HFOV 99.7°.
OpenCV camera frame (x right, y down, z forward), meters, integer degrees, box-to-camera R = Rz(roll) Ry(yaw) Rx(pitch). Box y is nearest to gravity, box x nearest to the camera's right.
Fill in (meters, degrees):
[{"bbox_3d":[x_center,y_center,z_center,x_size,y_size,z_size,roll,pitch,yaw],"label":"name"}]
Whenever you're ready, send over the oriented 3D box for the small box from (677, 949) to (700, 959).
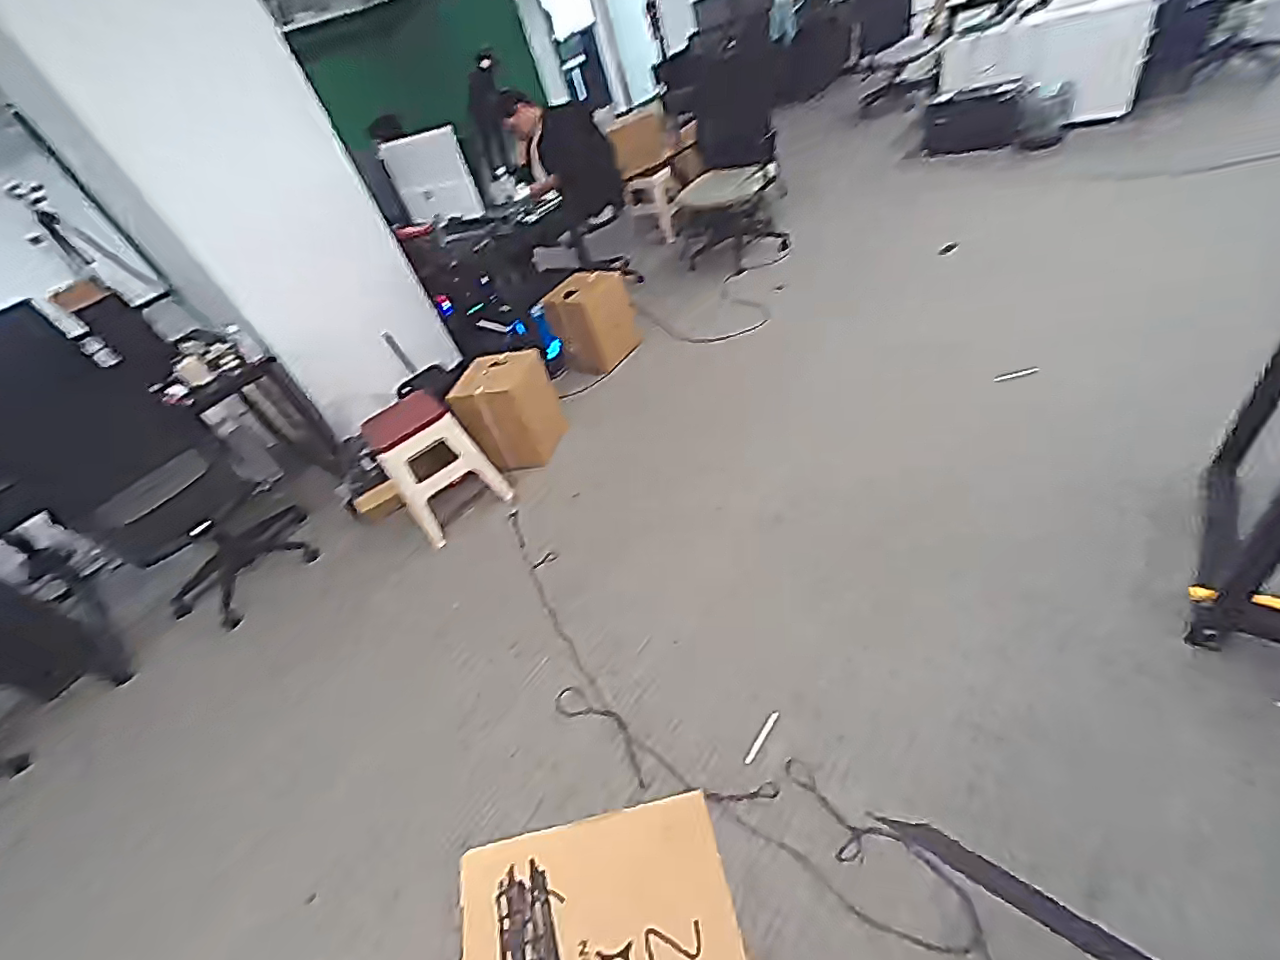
[{"bbox_3d":[0.104,0.951,0.905,0.179,0.176,0.168,26,59,40],"label":"small box"}]
